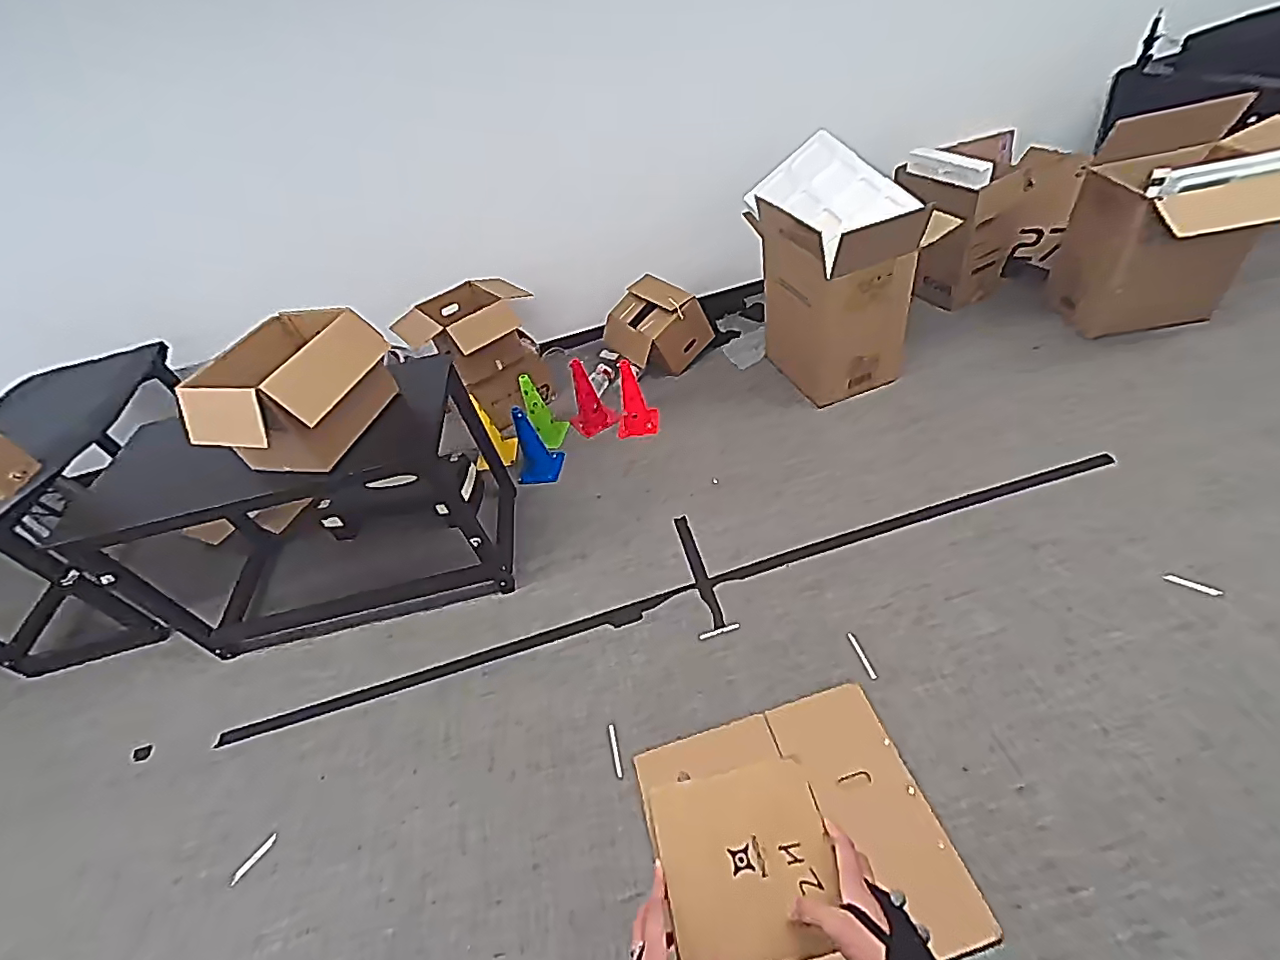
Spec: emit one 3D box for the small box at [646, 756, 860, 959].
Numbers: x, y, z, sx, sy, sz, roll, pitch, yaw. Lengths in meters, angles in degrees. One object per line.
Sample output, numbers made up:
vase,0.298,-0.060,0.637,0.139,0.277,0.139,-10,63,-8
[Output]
small box,0.107,0.433,0.598,0.179,0.176,0.168,-8,47,-7
